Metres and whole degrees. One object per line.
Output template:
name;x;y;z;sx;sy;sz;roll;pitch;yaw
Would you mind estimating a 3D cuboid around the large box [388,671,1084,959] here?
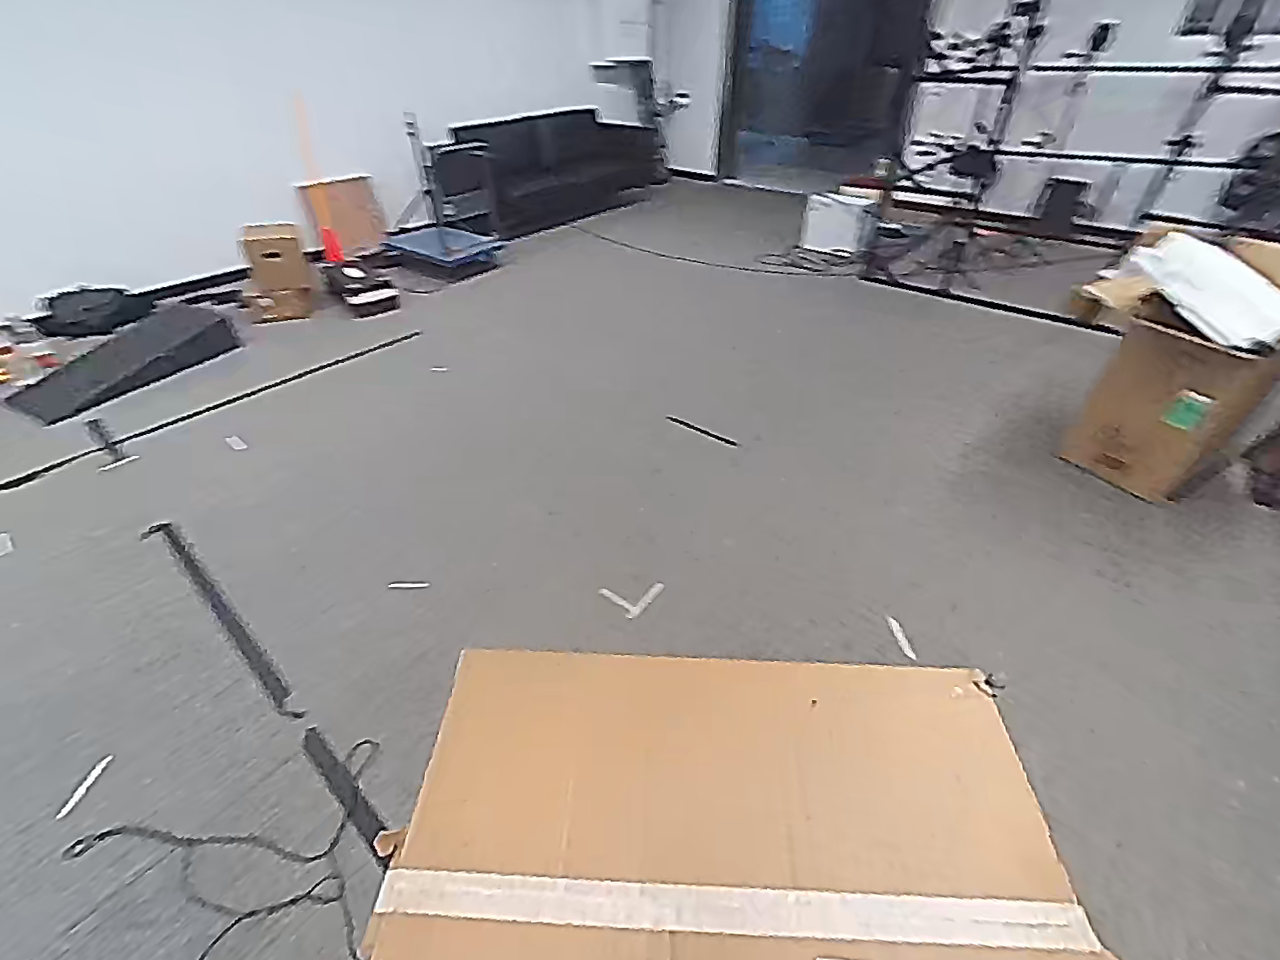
large box;0.053;0.368;0.423;0.408;0.320;0.320;1;45;1
